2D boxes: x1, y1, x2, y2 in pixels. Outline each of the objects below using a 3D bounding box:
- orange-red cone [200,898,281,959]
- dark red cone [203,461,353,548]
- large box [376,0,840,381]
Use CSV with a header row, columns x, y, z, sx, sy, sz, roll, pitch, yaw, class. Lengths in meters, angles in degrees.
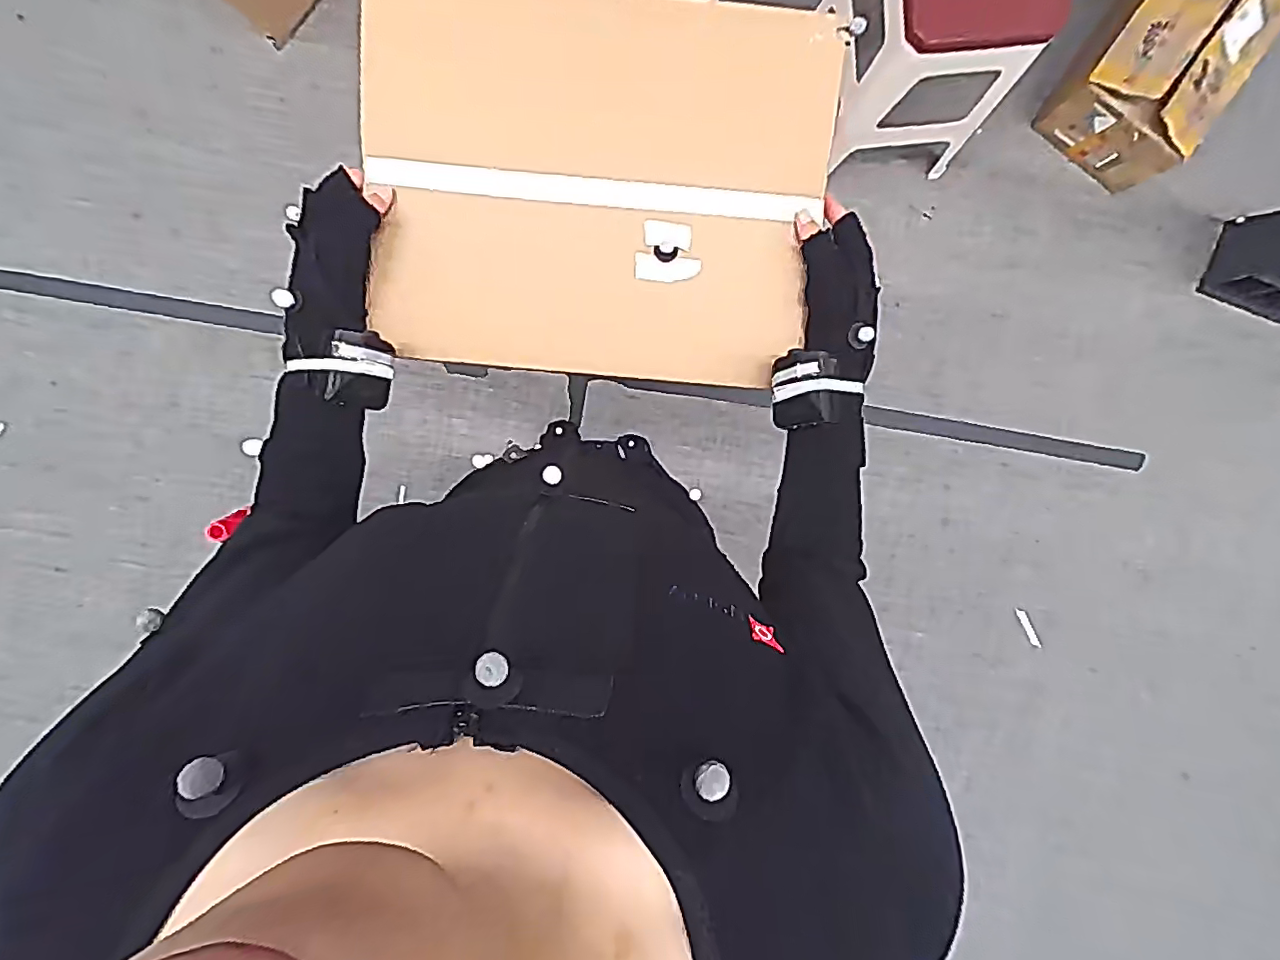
x,y,z,sx,sy,sz,roll,pitch,yaw,class
-1.148,1.339,1.407,0.198,0.360,0.199,7,97,-2,orange-red cone
-0.859,0.080,1.260,0.201,0.394,0.202,15,95,-4,dark red cone
-0.040,-0.285,0.630,0.408,0.320,0.320,5,101,-2,large box
